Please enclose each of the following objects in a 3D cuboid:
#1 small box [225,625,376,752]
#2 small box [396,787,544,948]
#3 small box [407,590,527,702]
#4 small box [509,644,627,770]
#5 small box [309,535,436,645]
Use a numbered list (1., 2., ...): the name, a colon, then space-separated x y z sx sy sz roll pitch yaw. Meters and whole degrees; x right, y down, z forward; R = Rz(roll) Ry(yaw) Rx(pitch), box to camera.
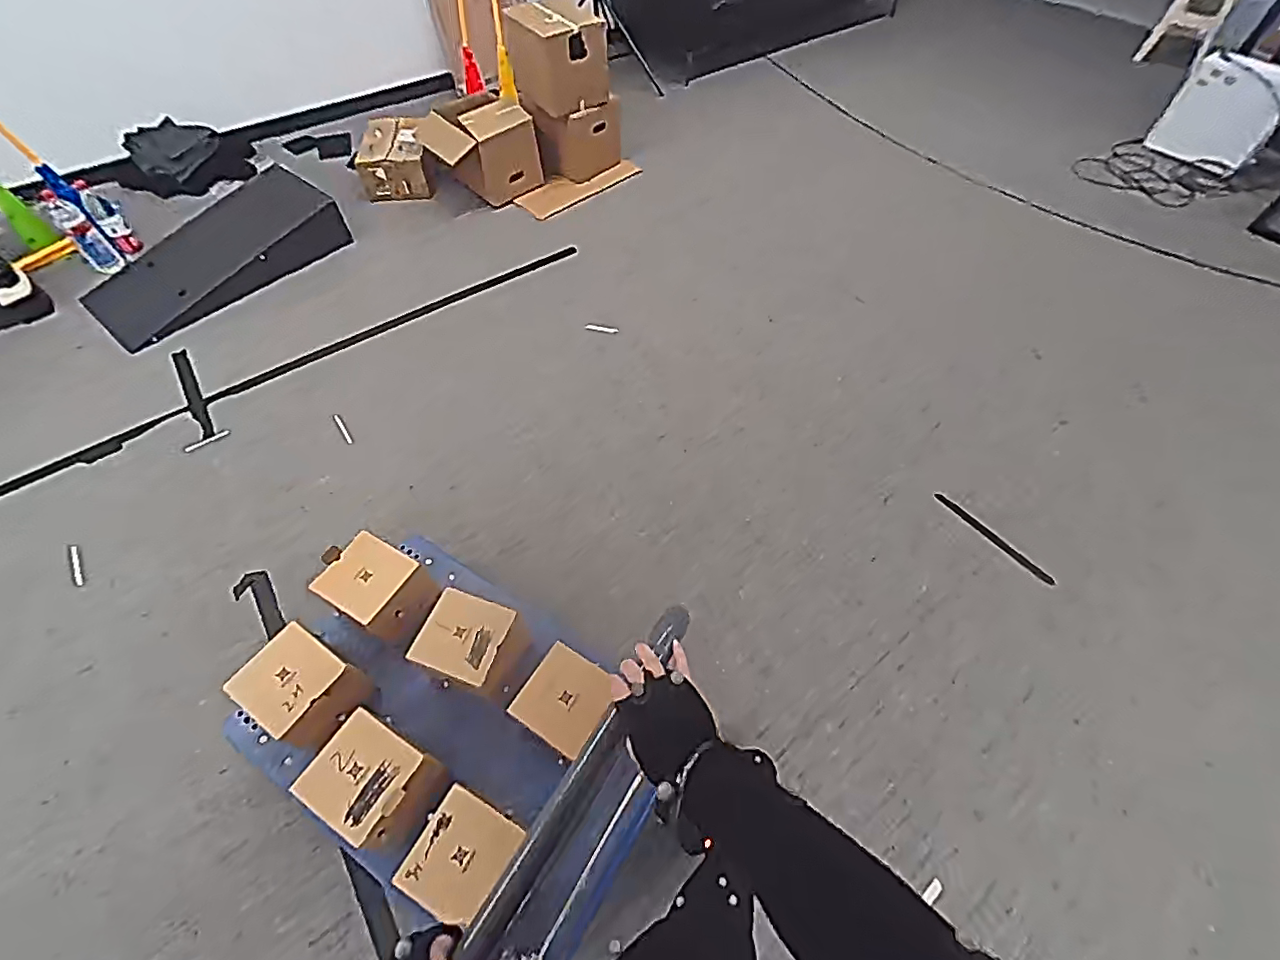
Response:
1. small box: -0.697 0.440 1.129 0.179 0.176 0.168 29 60 16
2. small box: -0.291 0.685 0.972 0.179 0.176 0.168 24 58 14
3. small box: -0.366 0.370 1.185 0.179 0.176 0.168 16 57 11
4. small box: -0.139 0.475 1.120 0.179 0.176 0.168 27 59 17
5. small box: -0.607 0.262 1.254 0.179 0.176 0.168 25 59 15
